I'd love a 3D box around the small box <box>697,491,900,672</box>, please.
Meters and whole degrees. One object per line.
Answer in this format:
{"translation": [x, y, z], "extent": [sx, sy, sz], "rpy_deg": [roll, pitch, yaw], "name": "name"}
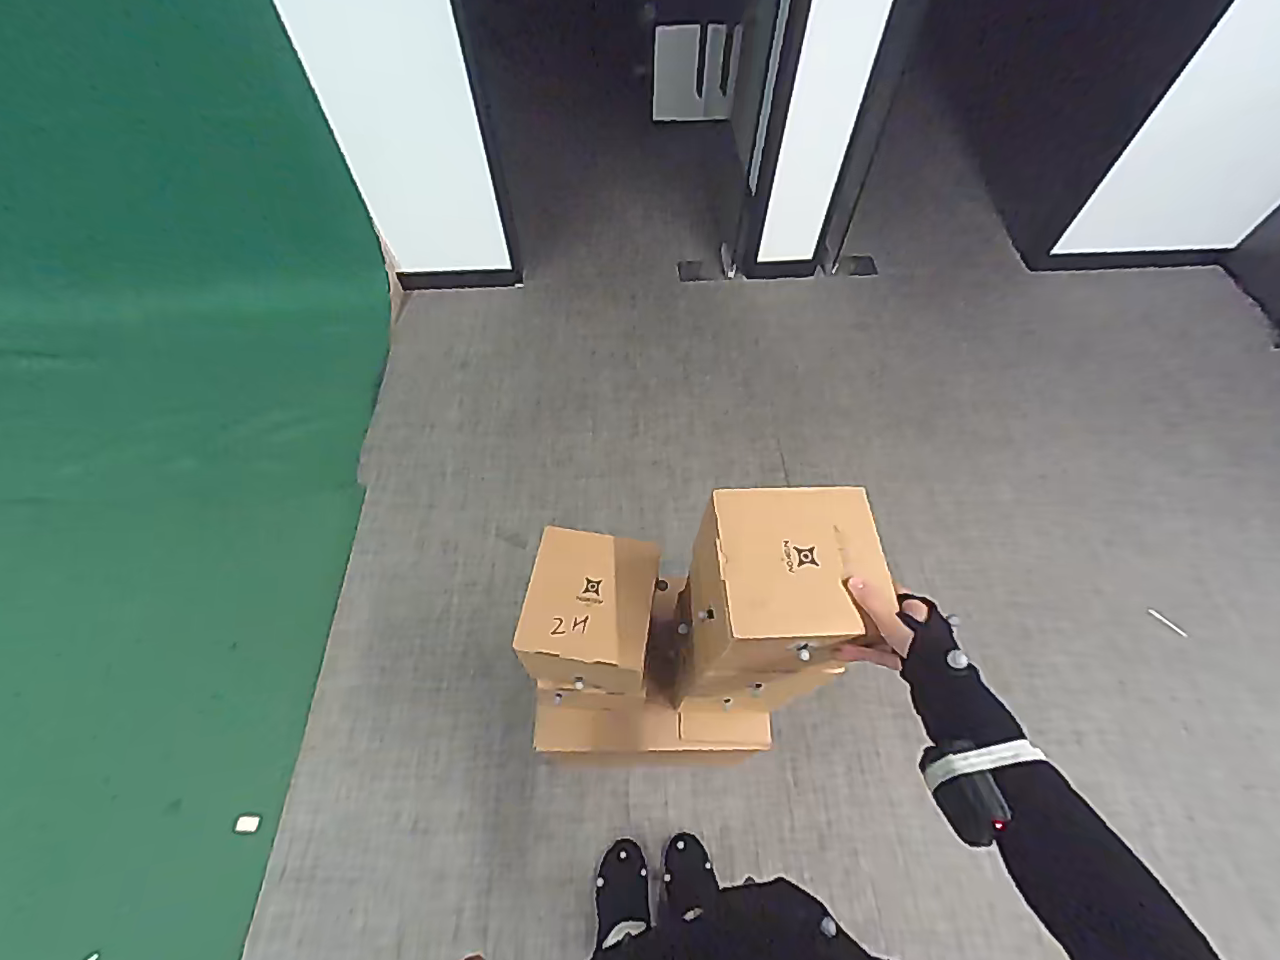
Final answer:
{"translation": [0.163, 0.124, 0.631], "extent": [0.179, 0.176, 0.168], "rpy_deg": [-1, 60, -3], "name": "small box"}
